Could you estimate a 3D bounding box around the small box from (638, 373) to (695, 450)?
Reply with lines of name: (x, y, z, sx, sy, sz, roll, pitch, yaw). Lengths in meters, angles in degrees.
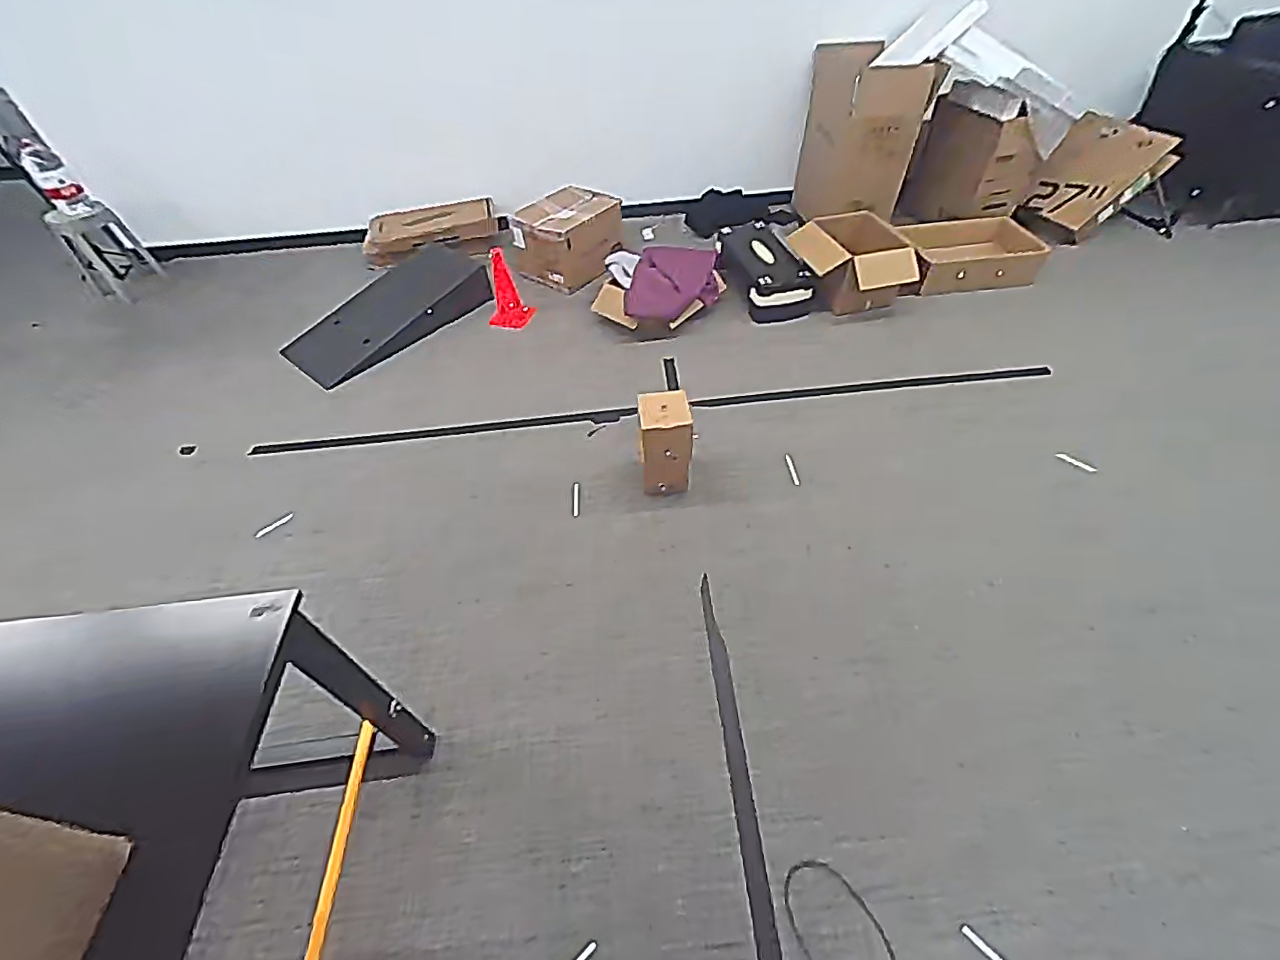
small box: (0.083, -0.219, 1.740, 0.168, 0.176, 0.179, -7, 48, -1)

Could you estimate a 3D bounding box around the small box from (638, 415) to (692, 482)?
small box: (0.083, -0.115, 1.869, 0.168, 0.176, 0.179, -7, 50, -1)
